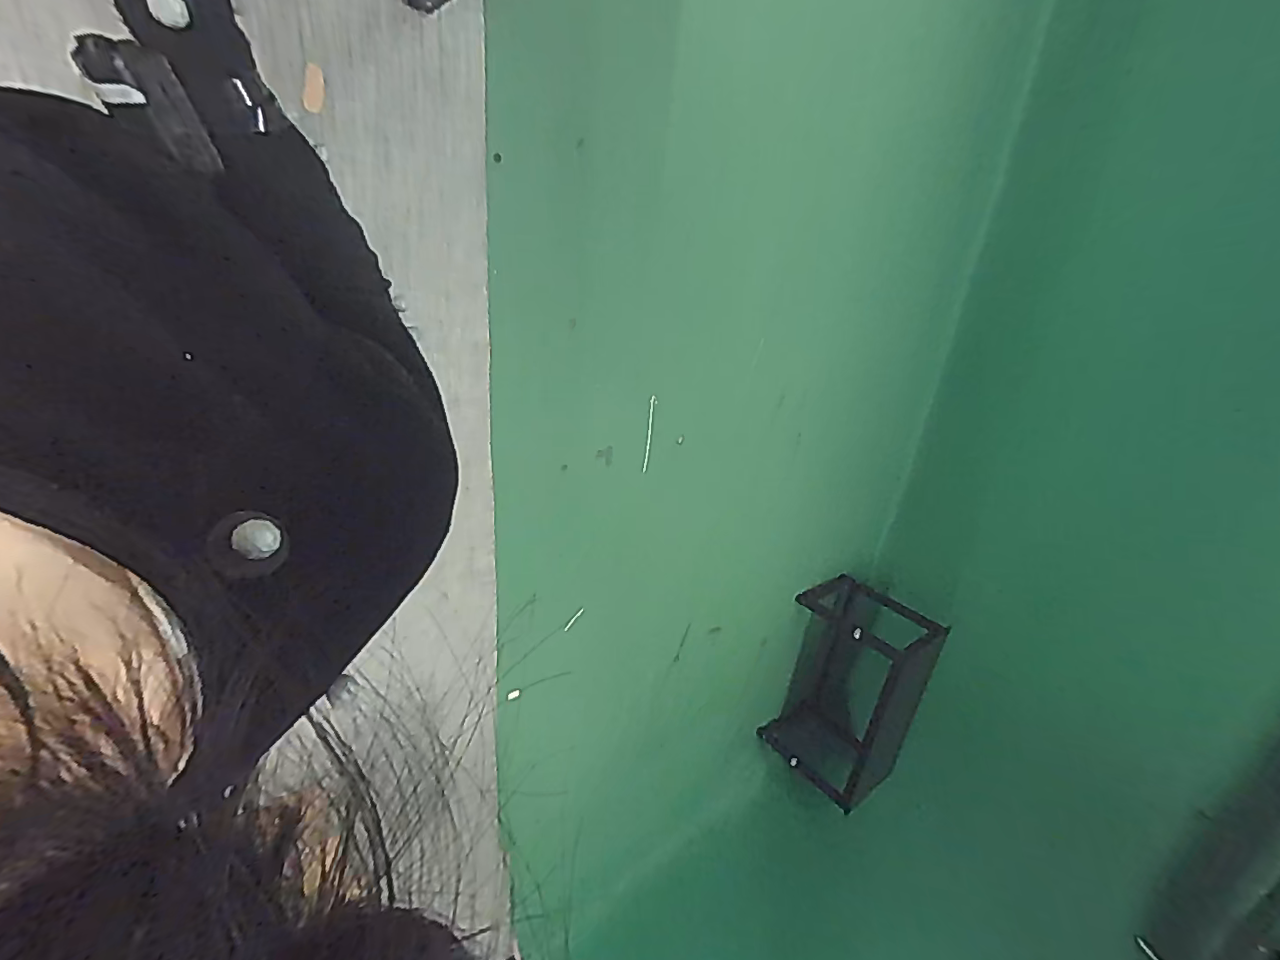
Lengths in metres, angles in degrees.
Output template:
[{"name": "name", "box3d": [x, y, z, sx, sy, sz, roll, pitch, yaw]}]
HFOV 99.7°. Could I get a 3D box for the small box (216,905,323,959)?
[{"name": "small box", "box3d": [-0.884, 1.179, 1.299, 0.168, 0.176, 0.179, -28, 128, -29]}]
